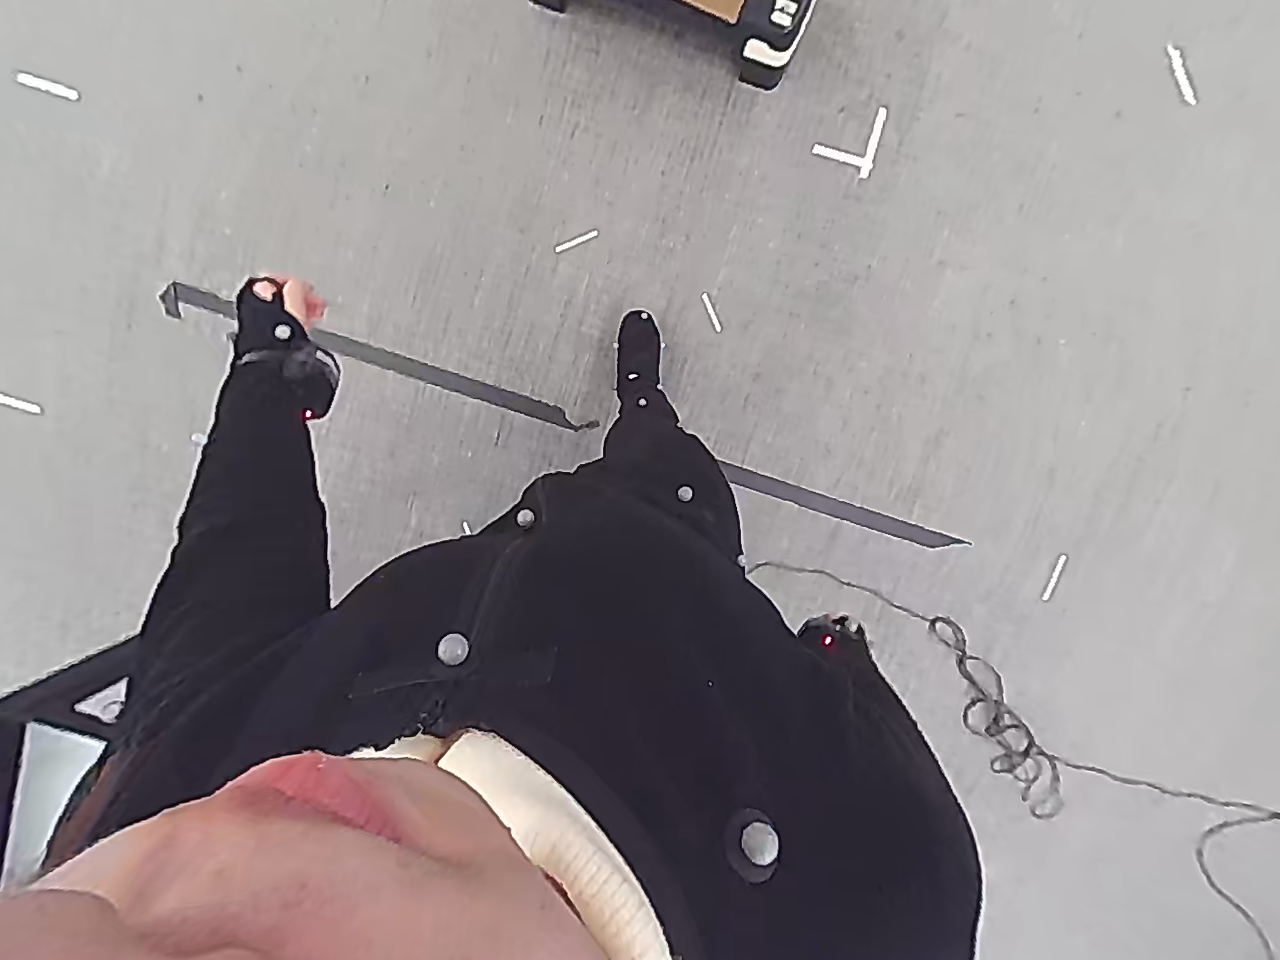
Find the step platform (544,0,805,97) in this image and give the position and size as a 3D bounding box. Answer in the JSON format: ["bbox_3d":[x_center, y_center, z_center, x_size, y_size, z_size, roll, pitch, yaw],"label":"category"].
[{"bbox_3d":[0.051,-1.194,1.232,0.684,0.204,0.286,23,96,-2],"label":"step platform"}]
